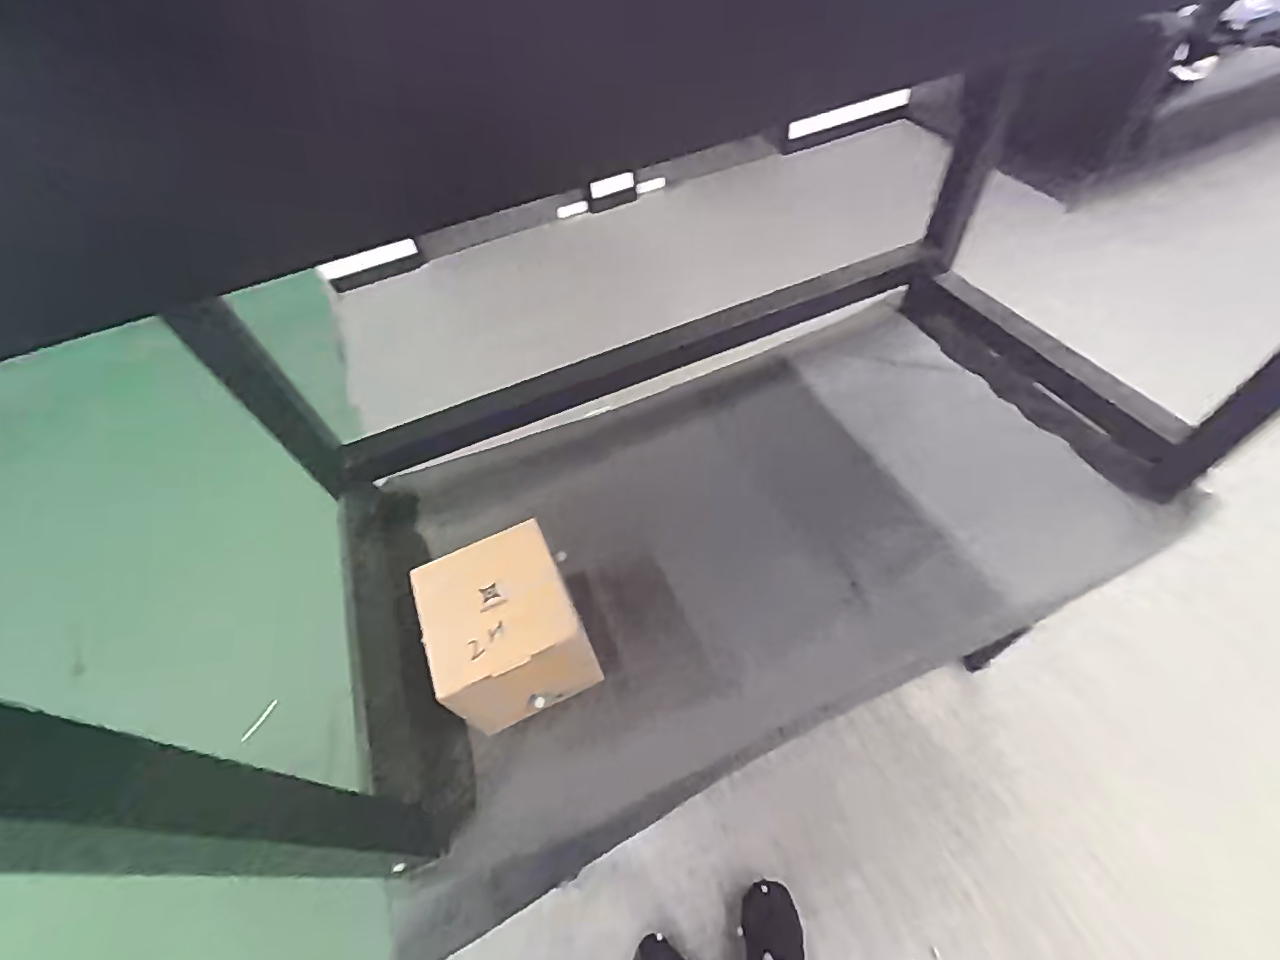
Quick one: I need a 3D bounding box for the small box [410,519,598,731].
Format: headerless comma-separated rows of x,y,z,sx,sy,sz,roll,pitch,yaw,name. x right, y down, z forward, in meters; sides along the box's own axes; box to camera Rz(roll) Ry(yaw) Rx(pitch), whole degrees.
-0.168,0.188,0.695,0.168,0.176,0.179,-24,53,-10,small box
